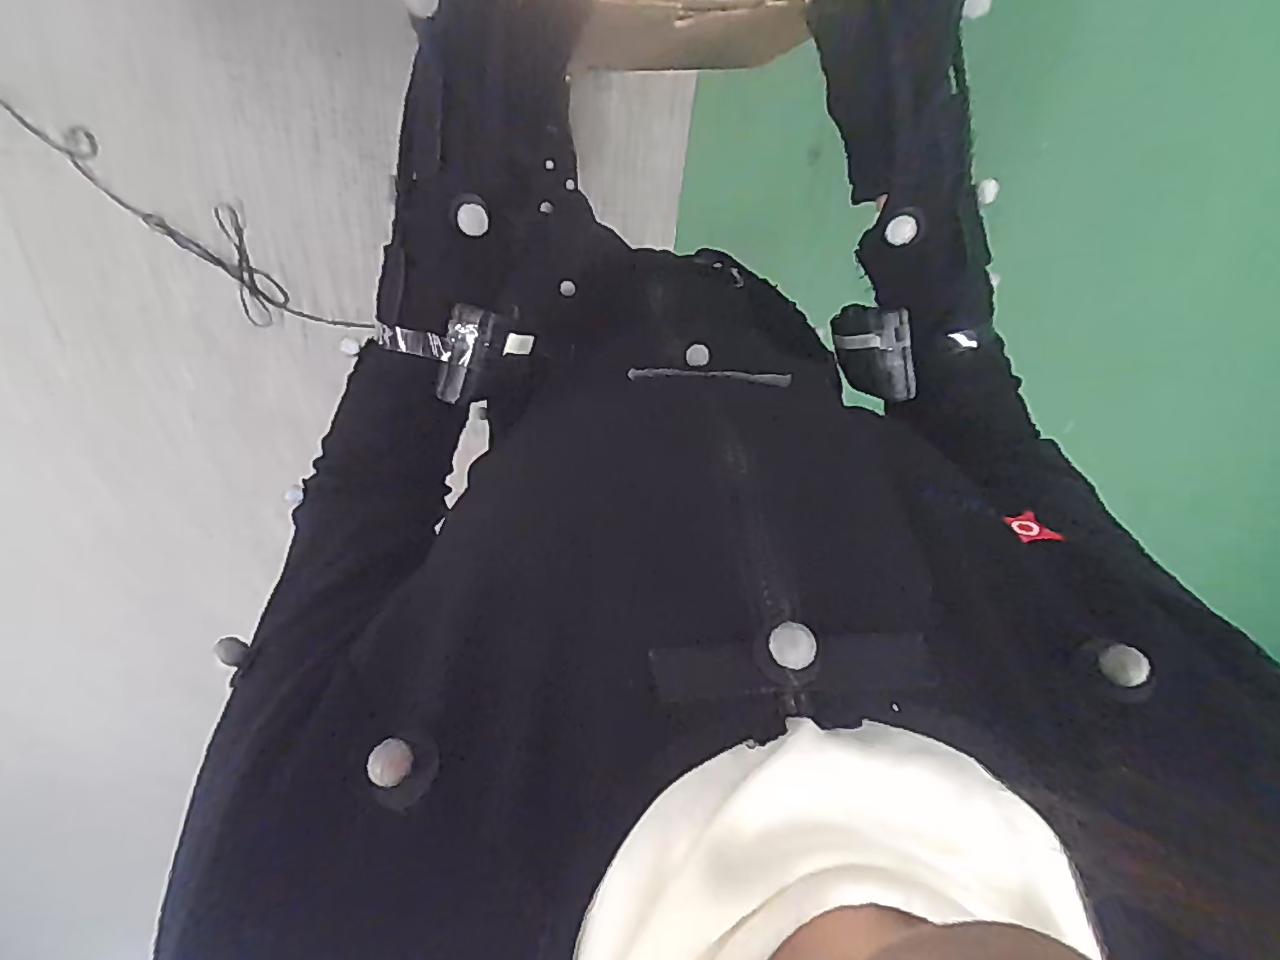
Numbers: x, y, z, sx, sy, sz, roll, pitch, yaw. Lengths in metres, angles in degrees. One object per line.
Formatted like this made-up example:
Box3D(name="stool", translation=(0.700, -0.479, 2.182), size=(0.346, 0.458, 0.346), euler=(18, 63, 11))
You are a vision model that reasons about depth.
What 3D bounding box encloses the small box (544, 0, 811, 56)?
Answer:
Box3D(name="small box", translation=(0.023, -0.361, 0.302), size=(0.168, 0.176, 0.179), euler=(-6, 116, -7))
